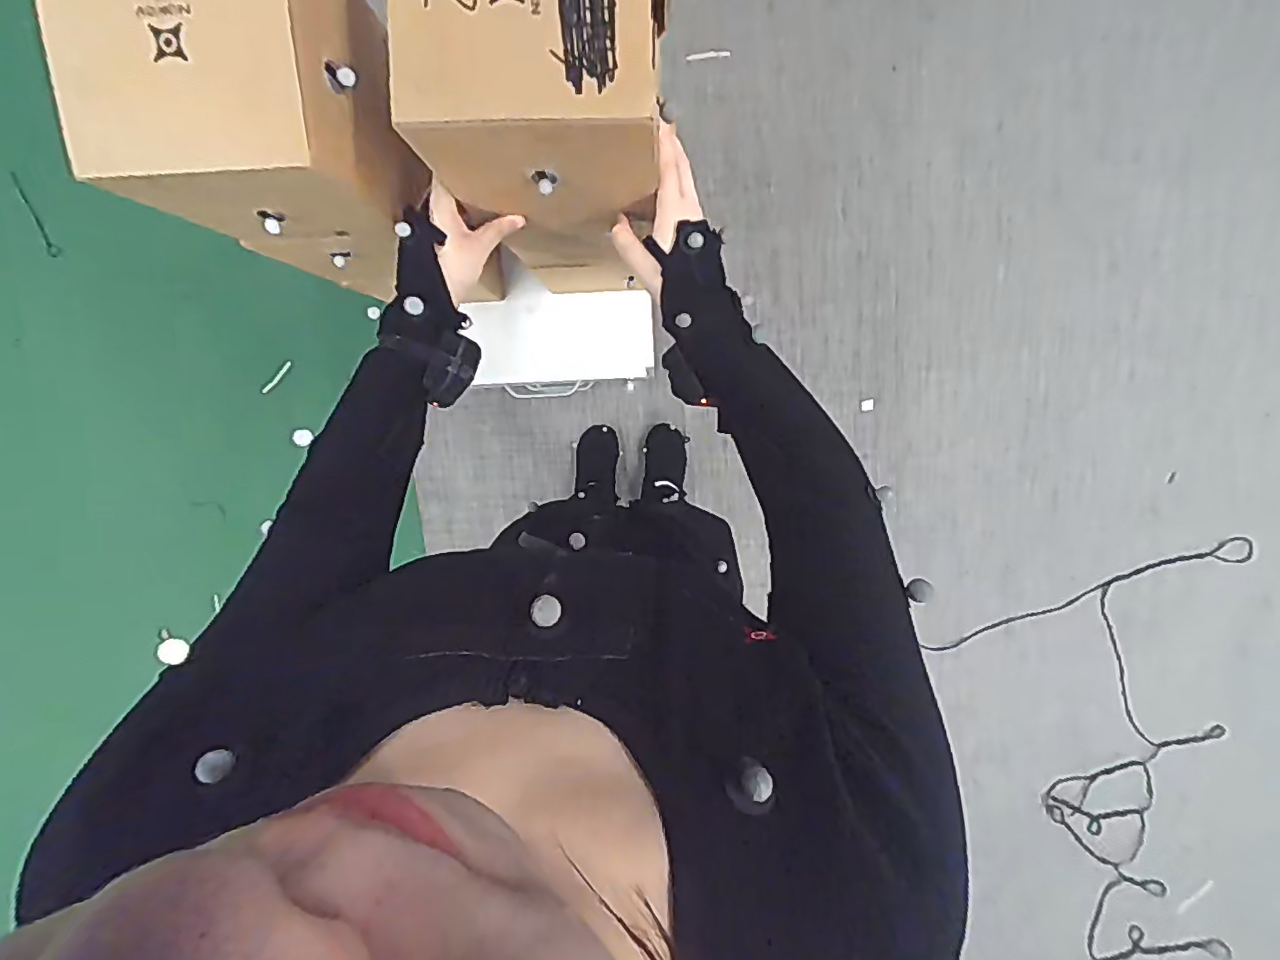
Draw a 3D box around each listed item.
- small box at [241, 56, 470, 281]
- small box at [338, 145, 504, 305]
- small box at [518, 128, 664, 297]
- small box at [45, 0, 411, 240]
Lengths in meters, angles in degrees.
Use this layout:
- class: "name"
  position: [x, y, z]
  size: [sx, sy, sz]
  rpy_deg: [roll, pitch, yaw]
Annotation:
- class: "small box"
  position: [-0.306, -0.323, 0.595]
  size: [0.179, 0.176, 0.168]
  rpy_deg: [-3, 99, 0]
- class: "small box"
  position: [-0.303, -0.344, 0.760]
  size: [0.179, 0.176, 0.168]
  rpy_deg: [-2, 100, 0]
- class: "small box"
  position: [-0.057, -0.358, 0.753]
  size: [0.179, 0.176, 0.168]
  rpy_deg: [-3, 98, 4]
- class: "small box"
  position: [-0.302, -0.302, 0.433]
  size: [0.168, 0.176, 0.179]
  rpy_deg: [-3, 99, -1]
